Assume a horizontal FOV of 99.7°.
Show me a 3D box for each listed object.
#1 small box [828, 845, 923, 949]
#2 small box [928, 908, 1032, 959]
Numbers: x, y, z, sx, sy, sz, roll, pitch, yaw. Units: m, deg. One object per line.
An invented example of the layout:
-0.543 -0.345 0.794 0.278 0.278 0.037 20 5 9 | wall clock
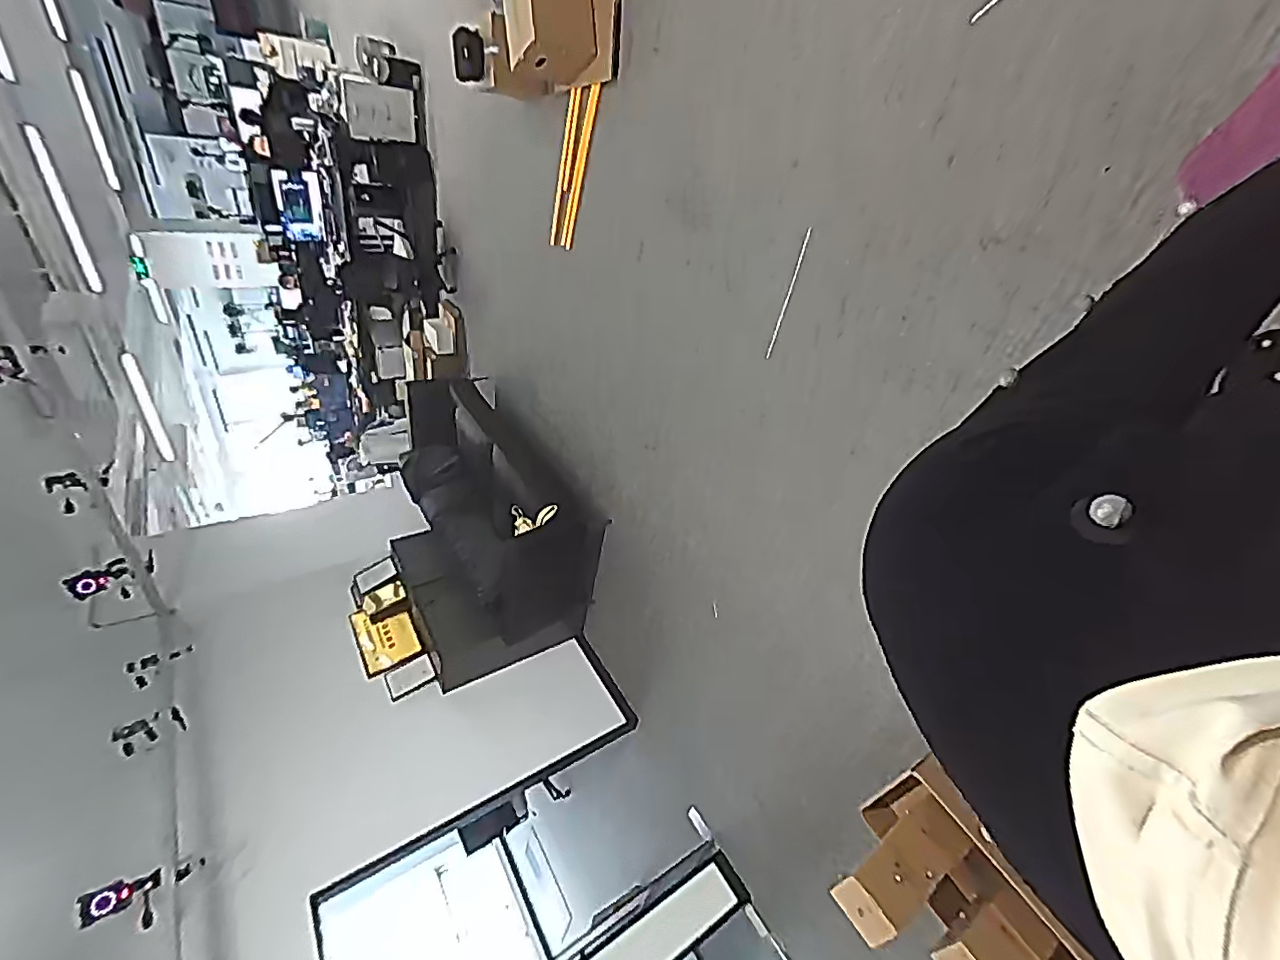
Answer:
0.709 1.245 1.621 0.168 0.176 0.179 47 139 36 | small box
0.987 1.391 1.561 0.168 0.176 0.179 48 140 36 | small box
